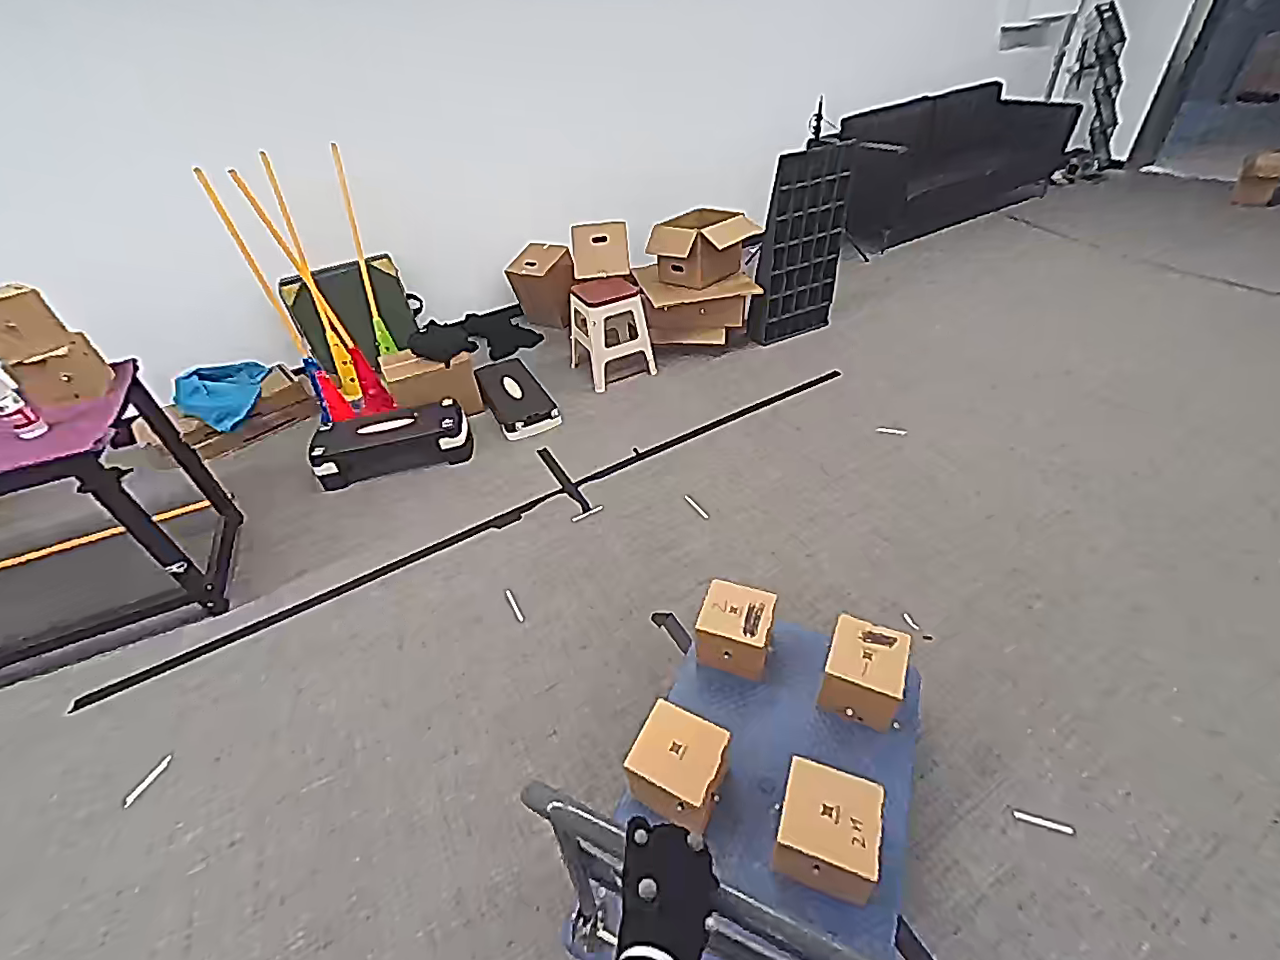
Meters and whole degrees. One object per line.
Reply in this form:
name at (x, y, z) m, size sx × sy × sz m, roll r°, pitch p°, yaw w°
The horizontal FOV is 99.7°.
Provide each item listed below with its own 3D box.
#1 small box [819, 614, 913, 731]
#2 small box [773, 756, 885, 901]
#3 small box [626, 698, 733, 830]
small box at (0.541, 0.464, 1.305) m, size 0.168 × 0.176 × 0.179 m, roll 15°, pitch 46°, yaw 23°
small box at (0.367, 0.687, 1.065) m, size 0.179 × 0.176 × 0.168 m, roll 12°, pitch 44°, yaw 20°
small box at (0.087, 0.621, 1.179) m, size 0.179 × 0.176 × 0.168 m, roll 18°, pitch 45°, yaw 23°
